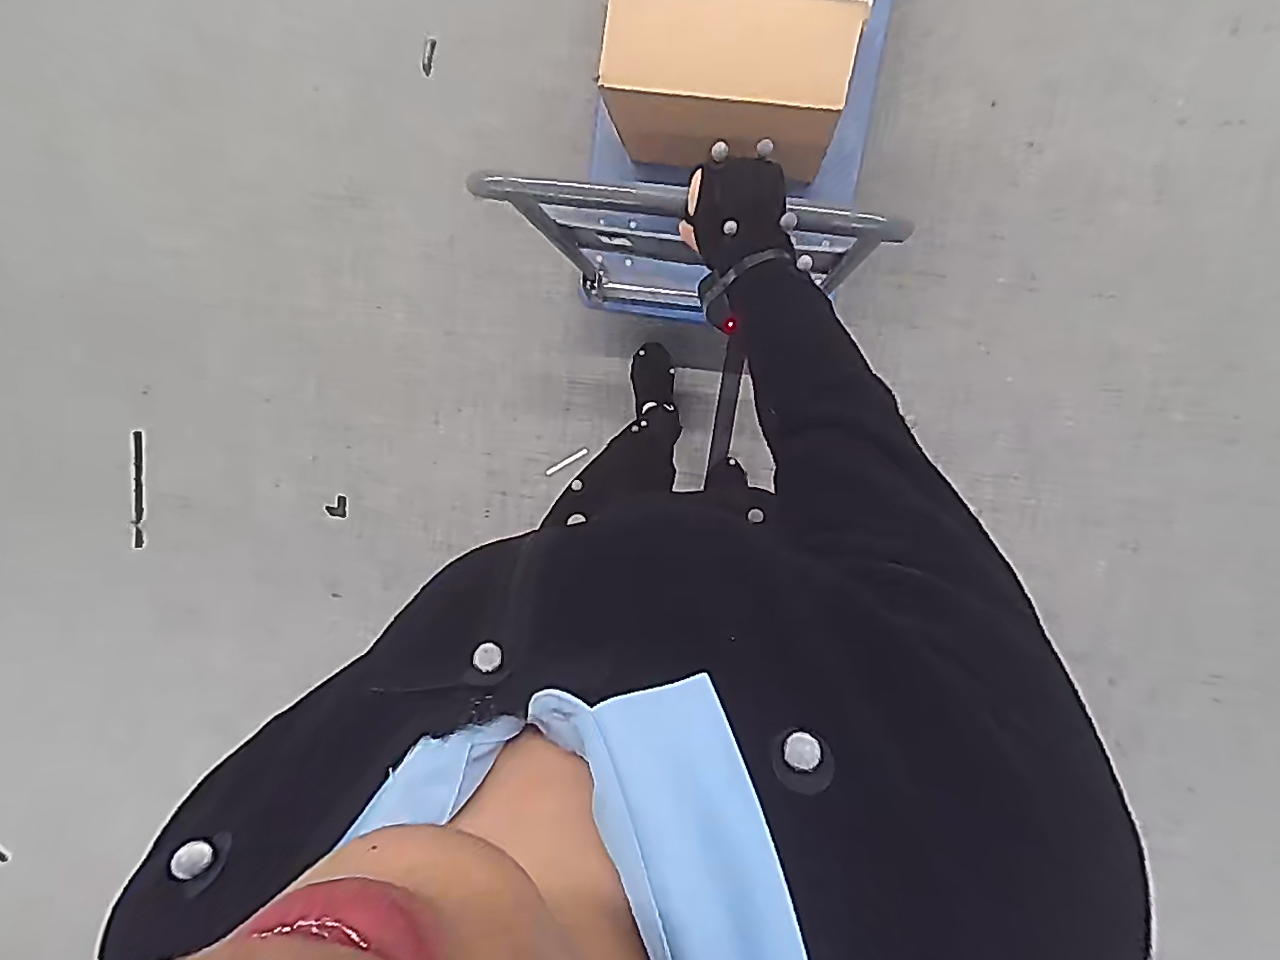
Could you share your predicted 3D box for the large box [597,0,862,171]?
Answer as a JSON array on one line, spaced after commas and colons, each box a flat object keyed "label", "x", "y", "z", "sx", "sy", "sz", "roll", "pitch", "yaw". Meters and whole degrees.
[{"label": "large box", "x": 0.171, "y": -0.792, "z": 0.977, "sx": 0.408, "sy": 0.320, "sz": 0.320, "roll": 11, "pitch": 100, "yaw": 9}]
